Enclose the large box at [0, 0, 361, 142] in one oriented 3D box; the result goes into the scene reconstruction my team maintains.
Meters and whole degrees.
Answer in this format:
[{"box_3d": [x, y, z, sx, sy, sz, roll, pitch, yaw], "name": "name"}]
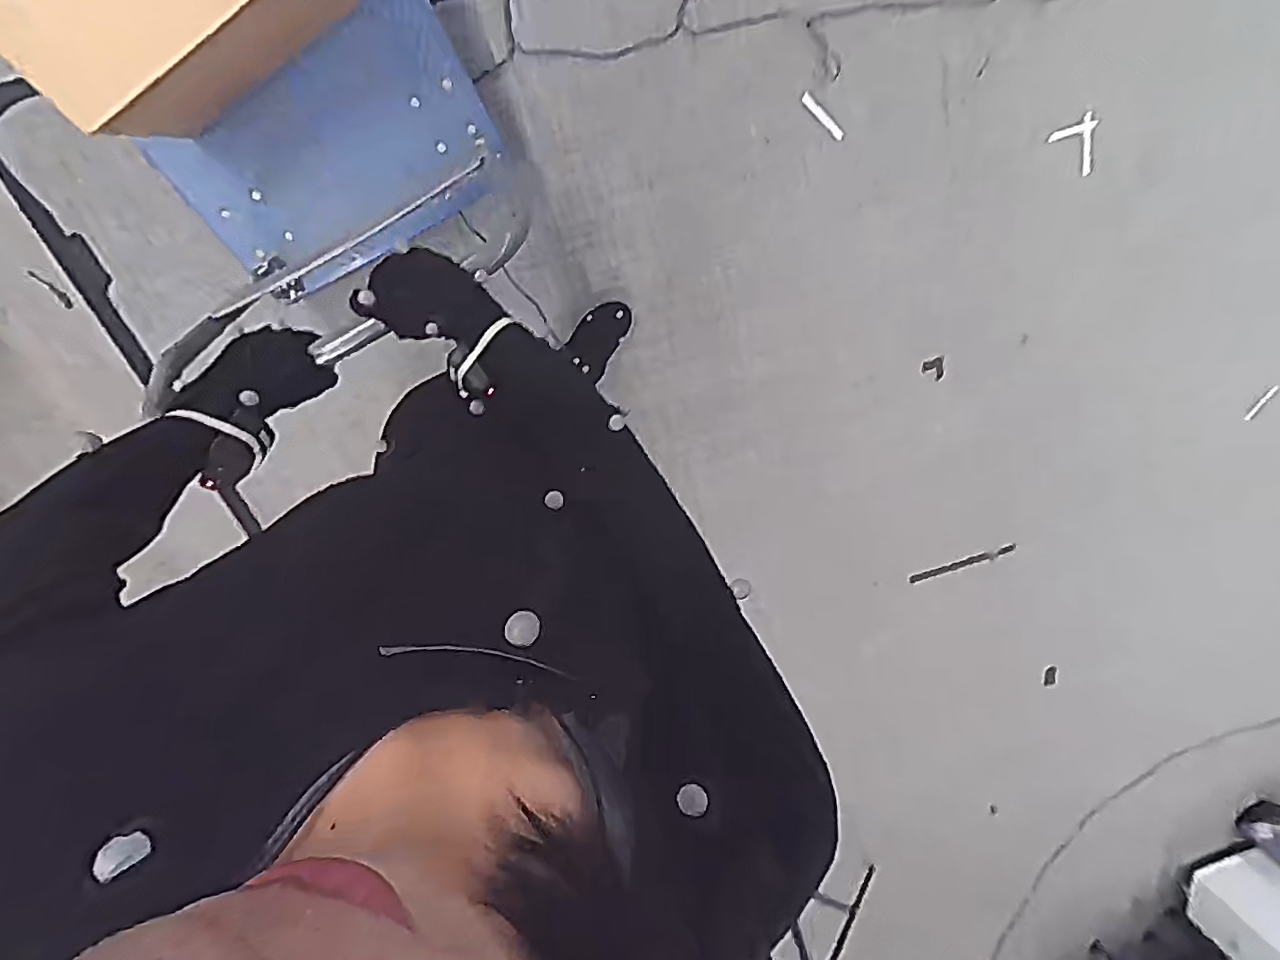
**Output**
[{"box_3d": [-0.680, -0.749, 0.751, 0.408, 0.320, 0.320, -35, 123, 5], "name": "large box"}]
